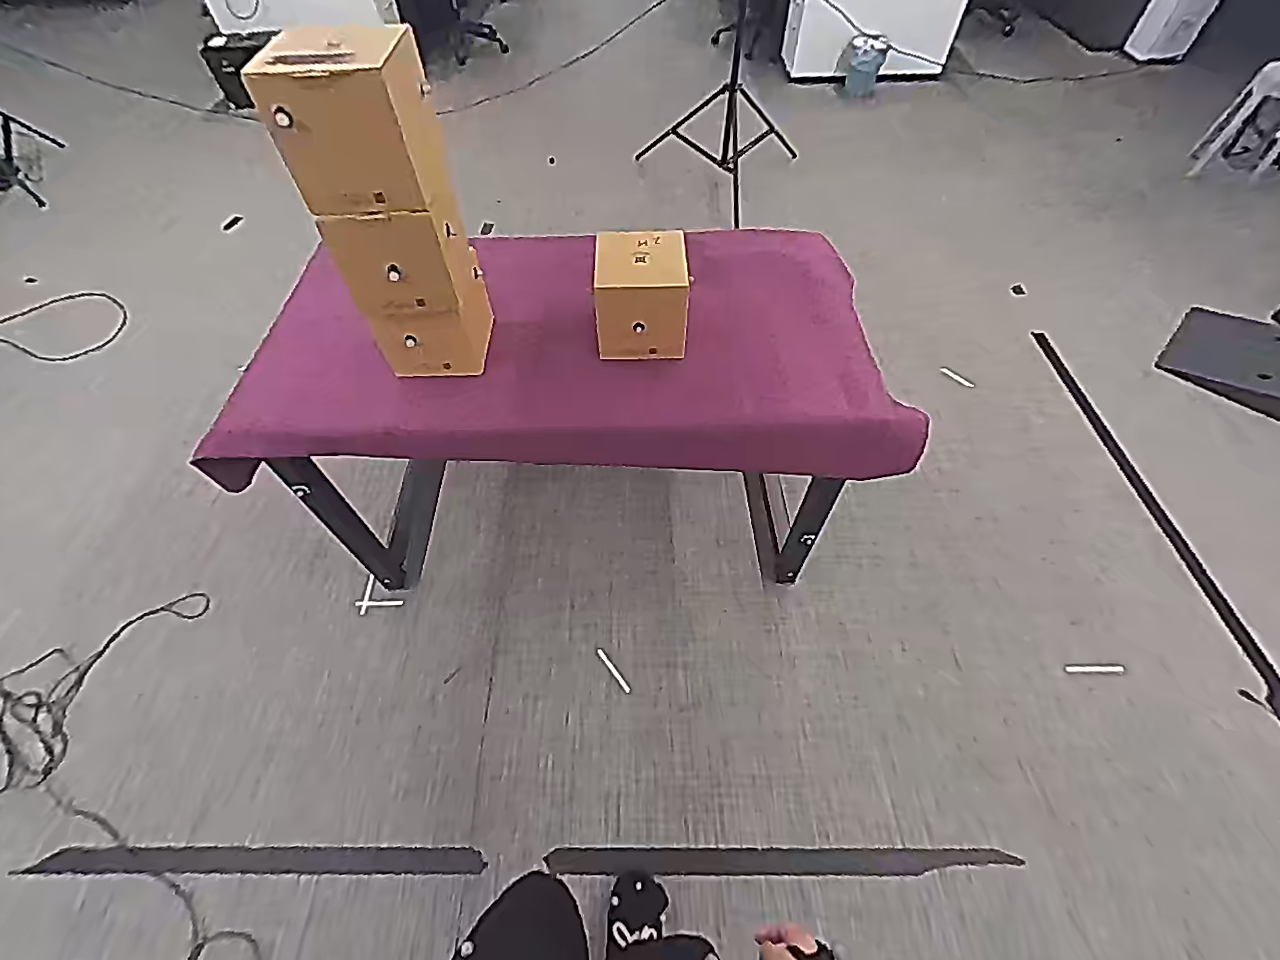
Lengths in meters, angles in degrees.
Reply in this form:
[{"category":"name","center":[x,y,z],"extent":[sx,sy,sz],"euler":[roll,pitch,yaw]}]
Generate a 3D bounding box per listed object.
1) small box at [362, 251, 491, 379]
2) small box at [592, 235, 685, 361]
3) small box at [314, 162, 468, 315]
[{"category":"small box","center":[-0.389,-0.306,1.022],"extent":[0.168,0.176,0.179],"euler":[-2,54,-1]},{"category":"small box","center":[-0.002,-0.346,1.044],"extent":[0.168,0.176,0.179],"euler":[-1,54,-1]},{"category":"small box","center":[-0.387,-0.383,0.876],"extent":[0.168,0.176,0.179],"euler":[-5,55,-3]}]
